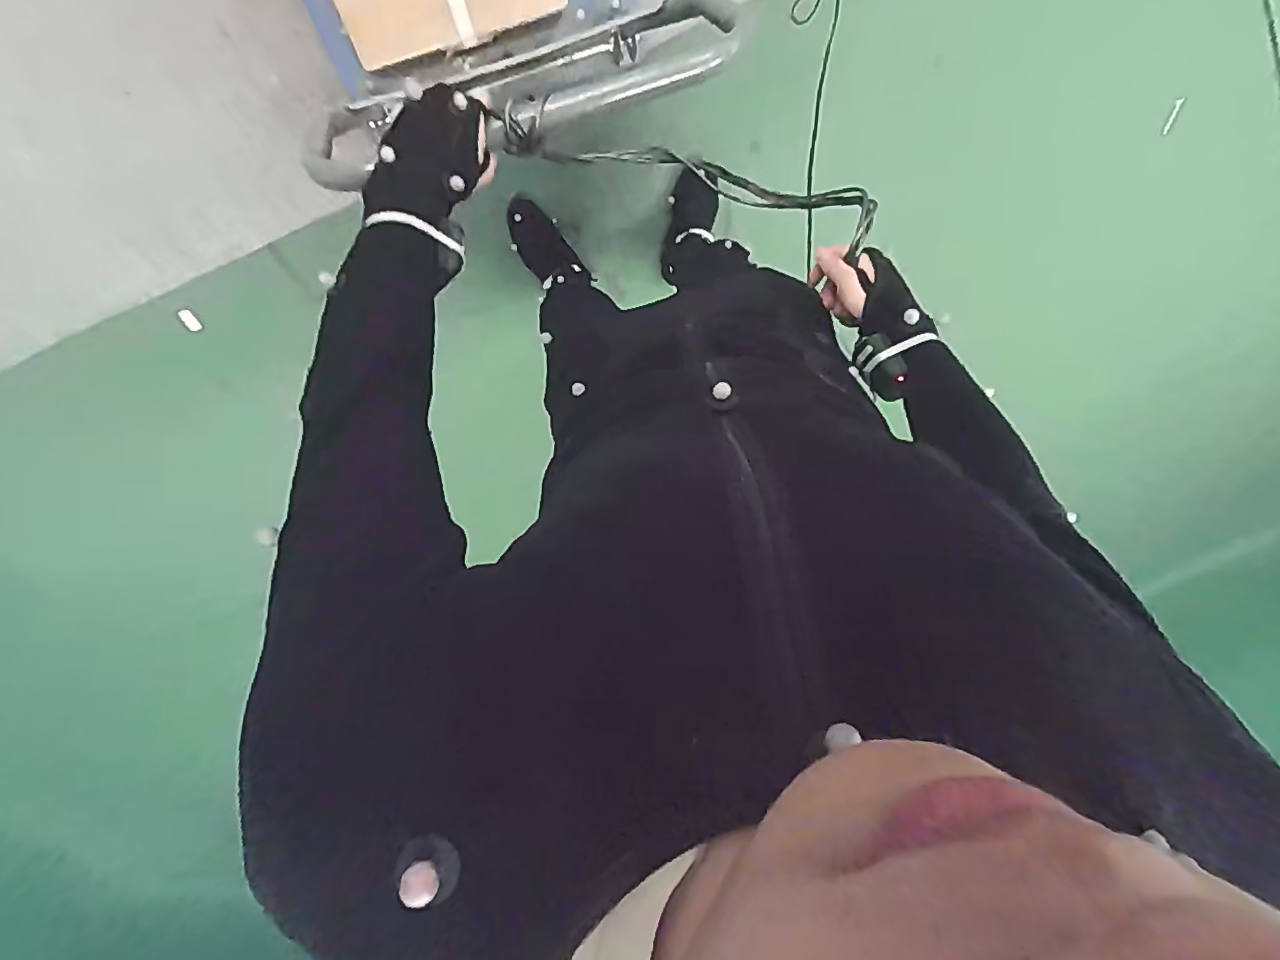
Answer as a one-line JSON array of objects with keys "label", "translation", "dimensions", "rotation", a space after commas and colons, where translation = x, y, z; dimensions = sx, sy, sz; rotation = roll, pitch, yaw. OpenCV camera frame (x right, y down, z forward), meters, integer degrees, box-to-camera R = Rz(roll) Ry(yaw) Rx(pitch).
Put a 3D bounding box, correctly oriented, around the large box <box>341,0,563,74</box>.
[{"label": "large box", "translation": [-0.322, -0.883, 0.781], "dimensions": [0.320, 0.320, 0.408], "rotation": [-18, 124, -3]}]
